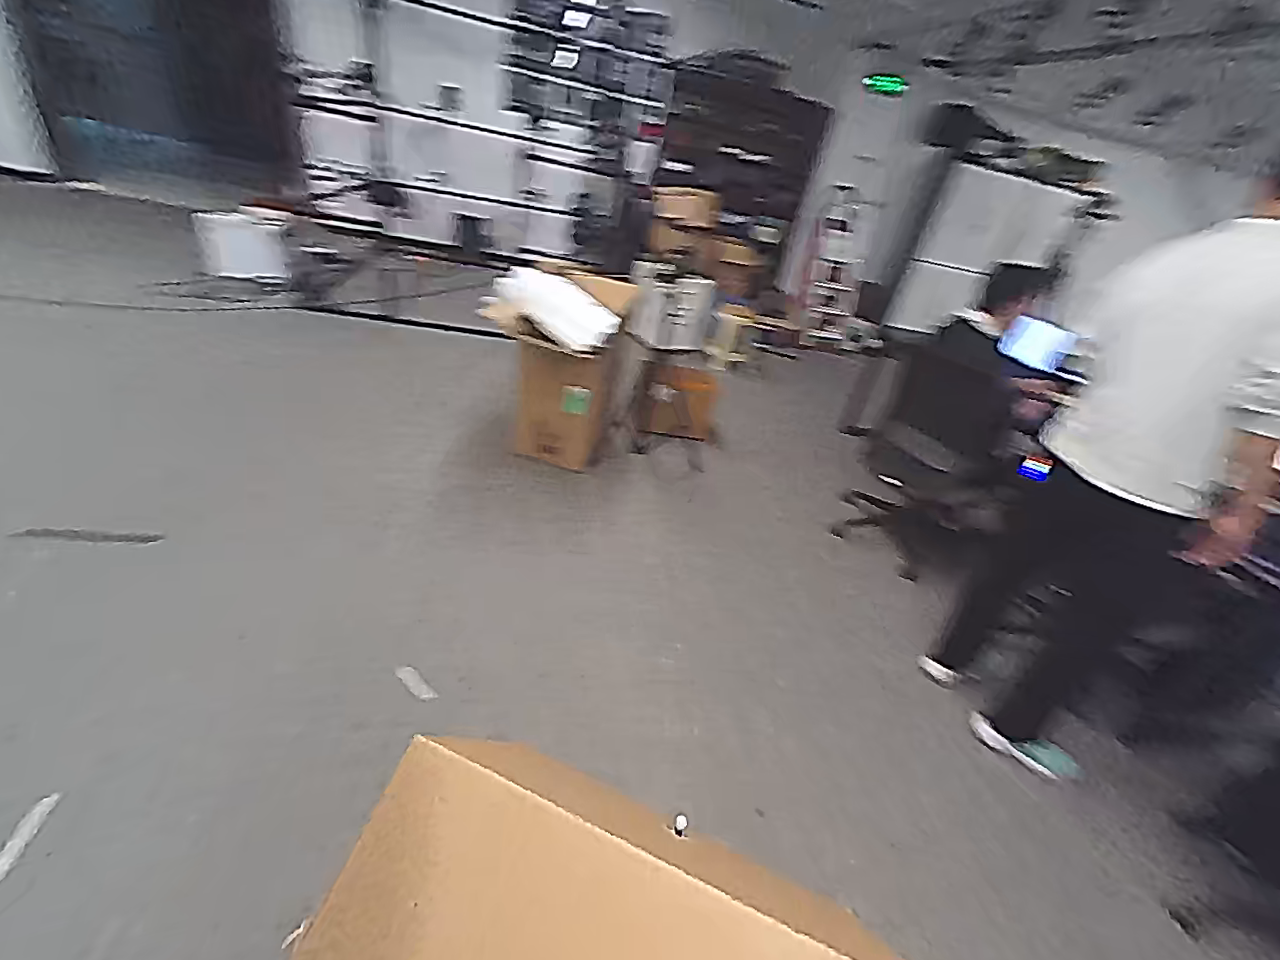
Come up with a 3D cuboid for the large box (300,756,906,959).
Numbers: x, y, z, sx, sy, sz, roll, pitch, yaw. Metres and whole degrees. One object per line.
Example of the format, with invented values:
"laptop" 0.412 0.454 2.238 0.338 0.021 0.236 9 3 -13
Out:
"large box" -0.037 0.449 0.425 0.408 0.320 0.320 19 67 10
